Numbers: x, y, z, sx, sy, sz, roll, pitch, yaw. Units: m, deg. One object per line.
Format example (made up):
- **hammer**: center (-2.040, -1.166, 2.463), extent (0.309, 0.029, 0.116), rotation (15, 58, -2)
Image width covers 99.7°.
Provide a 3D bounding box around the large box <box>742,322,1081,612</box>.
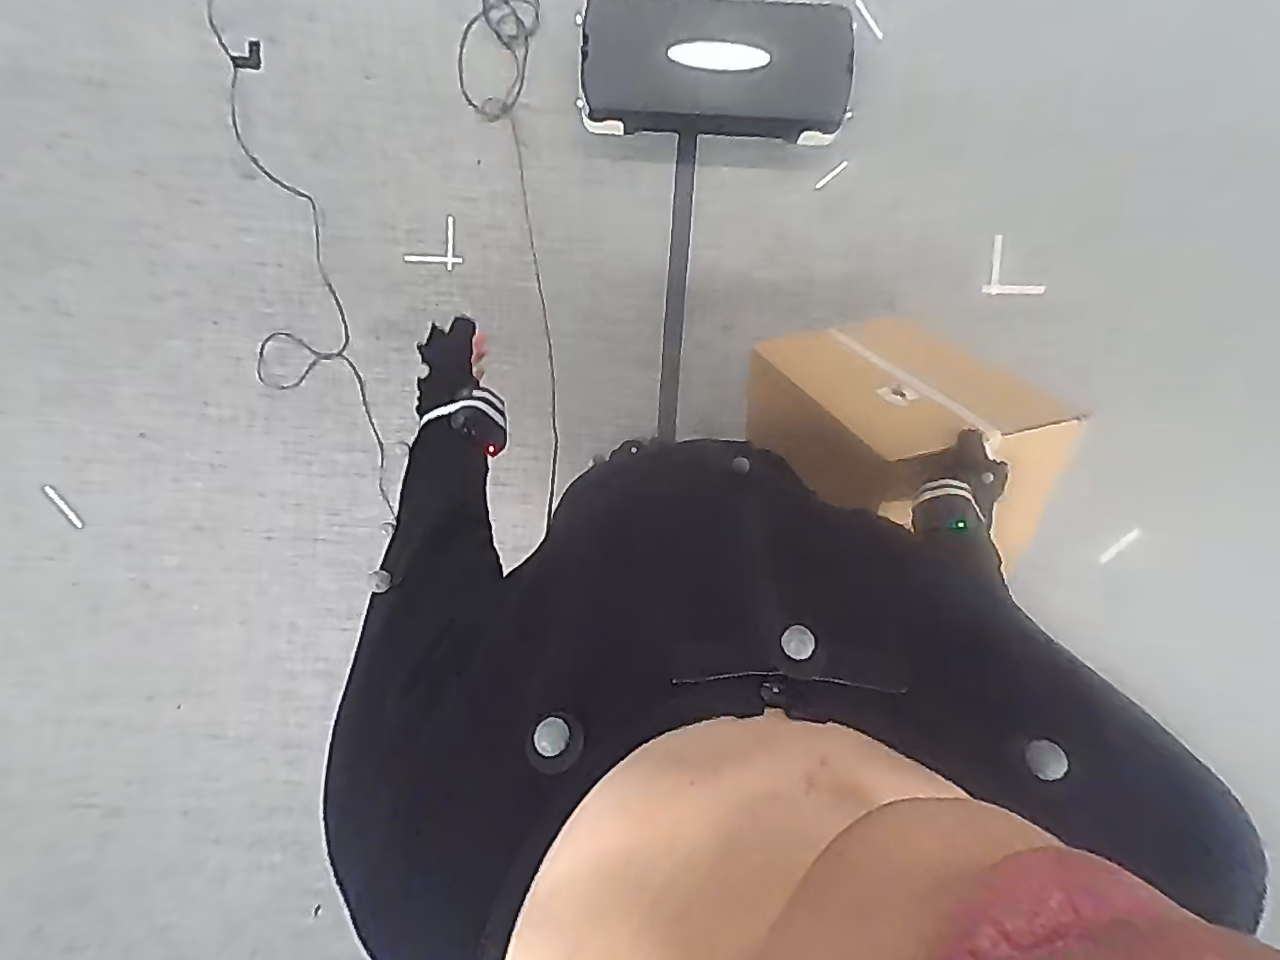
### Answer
- **large box**: center (0.410, -0.045, 0.949), extent (0.320, 0.408, 0.320), rotation (-12, 128, -10)
